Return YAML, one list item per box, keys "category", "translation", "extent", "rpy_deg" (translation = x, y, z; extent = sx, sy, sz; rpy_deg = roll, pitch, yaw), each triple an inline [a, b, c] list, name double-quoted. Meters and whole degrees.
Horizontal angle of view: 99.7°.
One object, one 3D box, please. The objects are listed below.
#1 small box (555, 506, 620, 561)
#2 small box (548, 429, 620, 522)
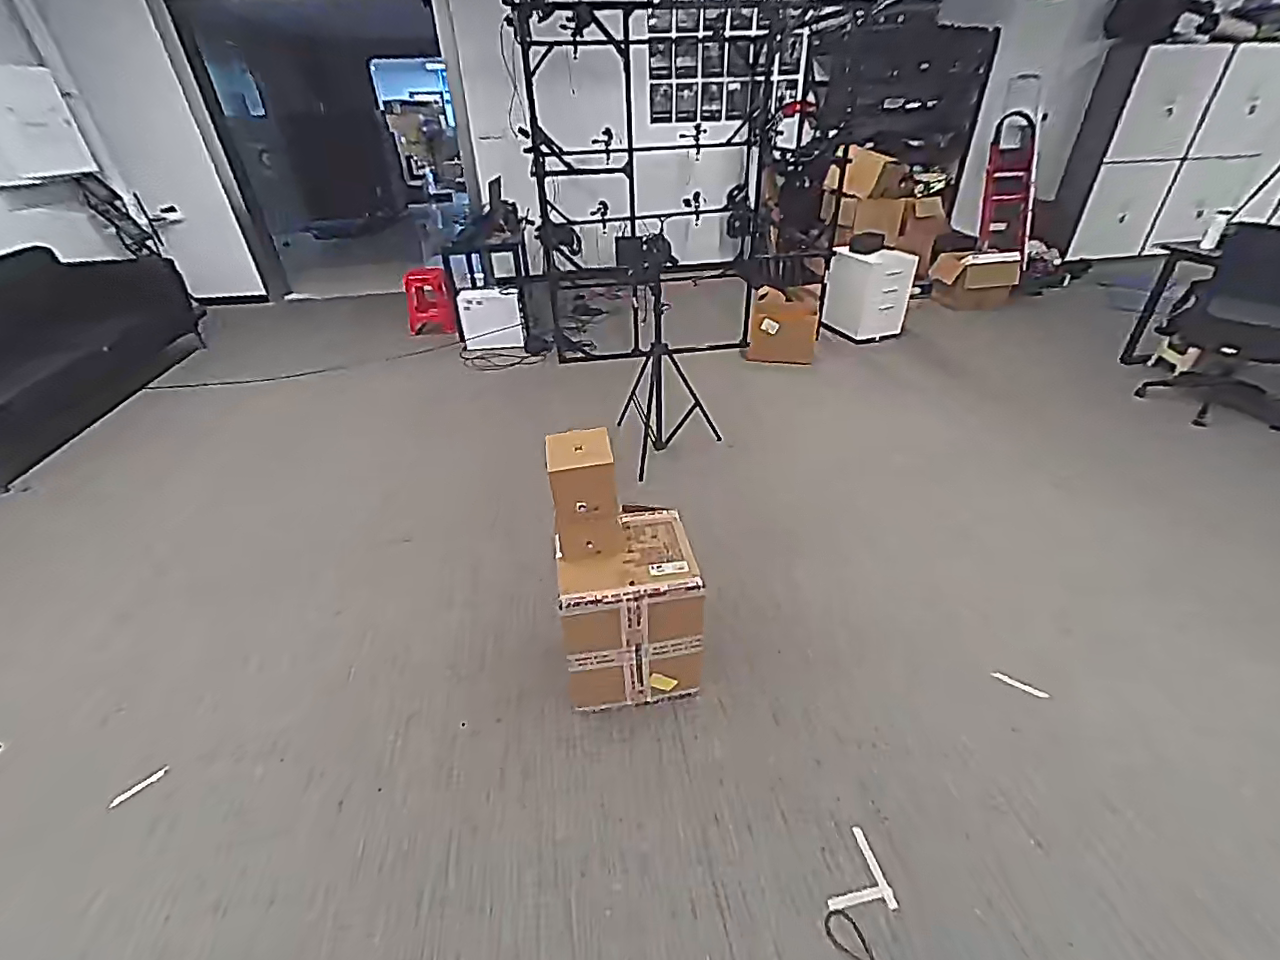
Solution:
- category: "small box"
  translation: [-0.151, 0.107, 1.544]
  extent: [0.168, 0.176, 0.179]
  rpy_deg: [-8, 37, -6]
- category: "small box"
  translation: [-0.150, -0.012, 1.431]
  extent: [0.168, 0.176, 0.179]
  rpy_deg: [-9, 38, -6]
